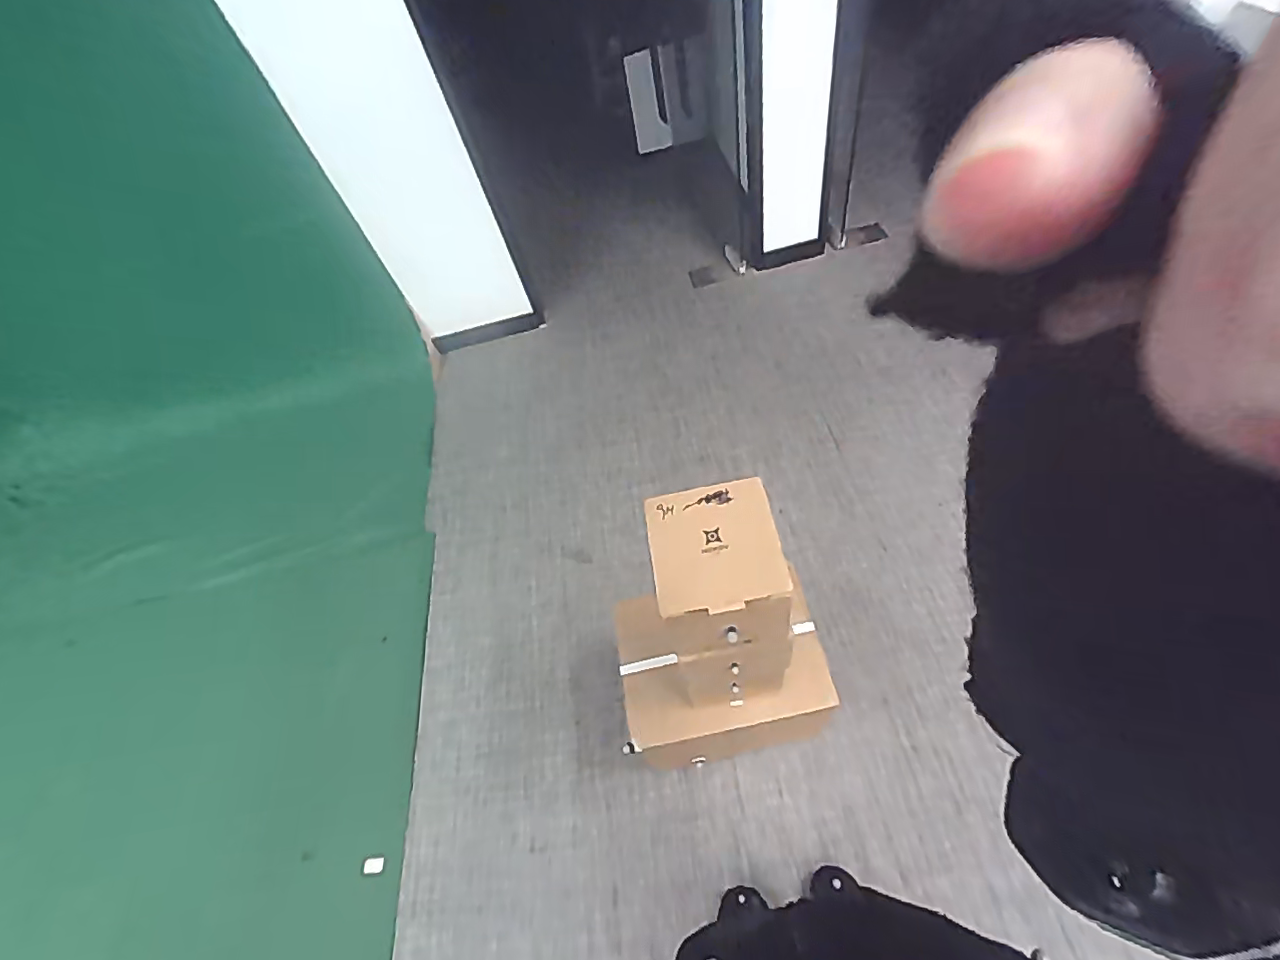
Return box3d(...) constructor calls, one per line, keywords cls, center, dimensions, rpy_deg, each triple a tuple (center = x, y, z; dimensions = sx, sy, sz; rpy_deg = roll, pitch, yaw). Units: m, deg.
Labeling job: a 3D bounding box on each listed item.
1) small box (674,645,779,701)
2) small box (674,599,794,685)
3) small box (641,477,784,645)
box3d(cls="small box", center=(0.157, 0.309, 1.030), dimensions=(0.179, 0.176, 0.168), rpy_deg=(-12, 55, 3))
box3d(cls="small box", center=(0.136, 0.222, 0.893), dimensions=(0.179, 0.176, 0.168), rpy_deg=(-15, 55, 1))
box3d(cls="small box", center=(0.103, 0.124, 0.765), dimensions=(0.168, 0.176, 0.179), rpy_deg=(-11, 56, 6))
